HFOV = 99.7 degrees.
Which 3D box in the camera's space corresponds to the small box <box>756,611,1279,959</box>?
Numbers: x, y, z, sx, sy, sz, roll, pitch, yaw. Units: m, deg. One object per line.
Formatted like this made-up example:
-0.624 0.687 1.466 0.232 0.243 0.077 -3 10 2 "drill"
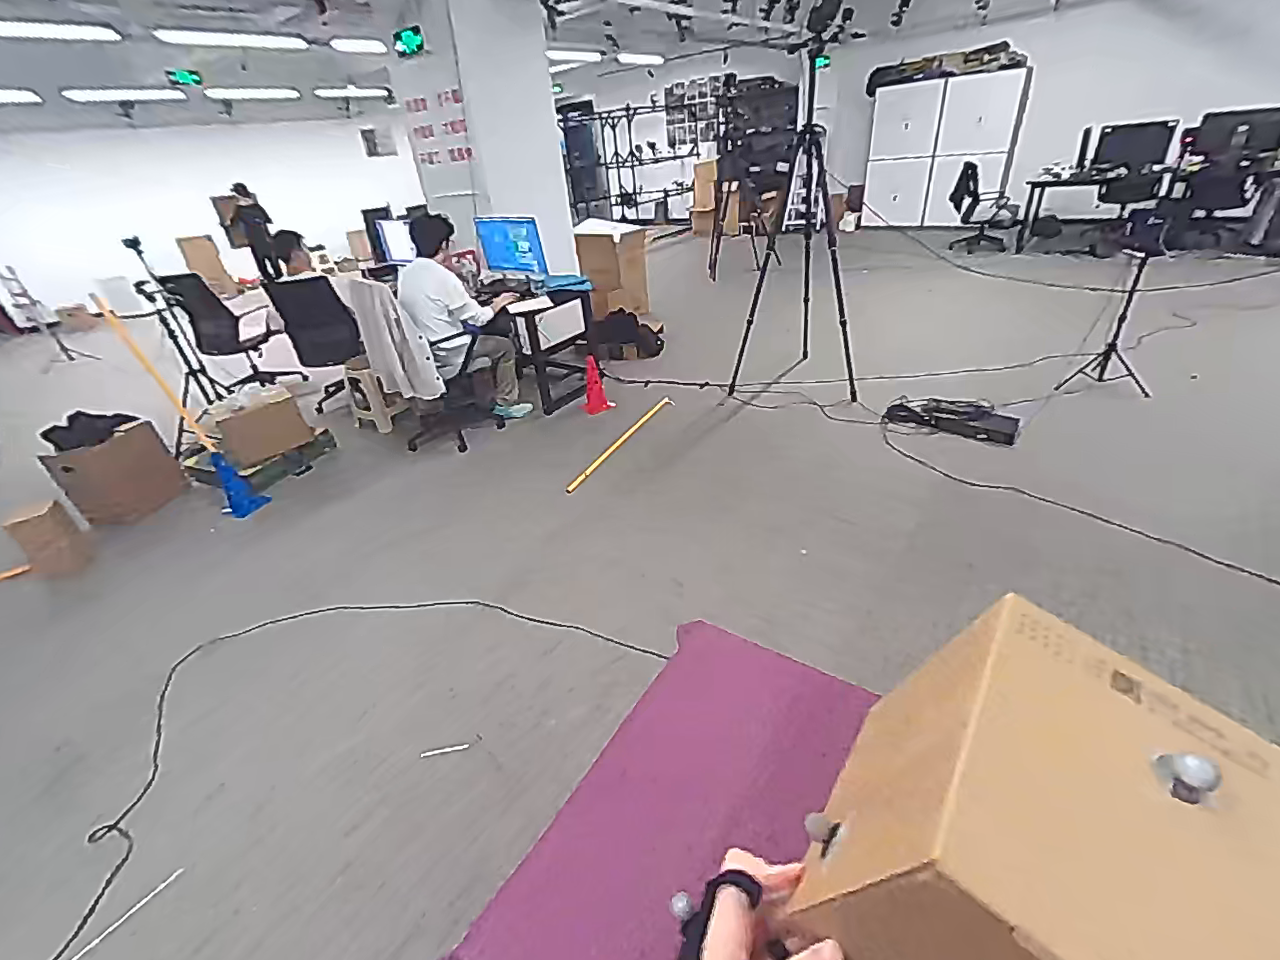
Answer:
0.194 0.210 0.294 0.168 0.179 0.176 33 49 19 "small box"
